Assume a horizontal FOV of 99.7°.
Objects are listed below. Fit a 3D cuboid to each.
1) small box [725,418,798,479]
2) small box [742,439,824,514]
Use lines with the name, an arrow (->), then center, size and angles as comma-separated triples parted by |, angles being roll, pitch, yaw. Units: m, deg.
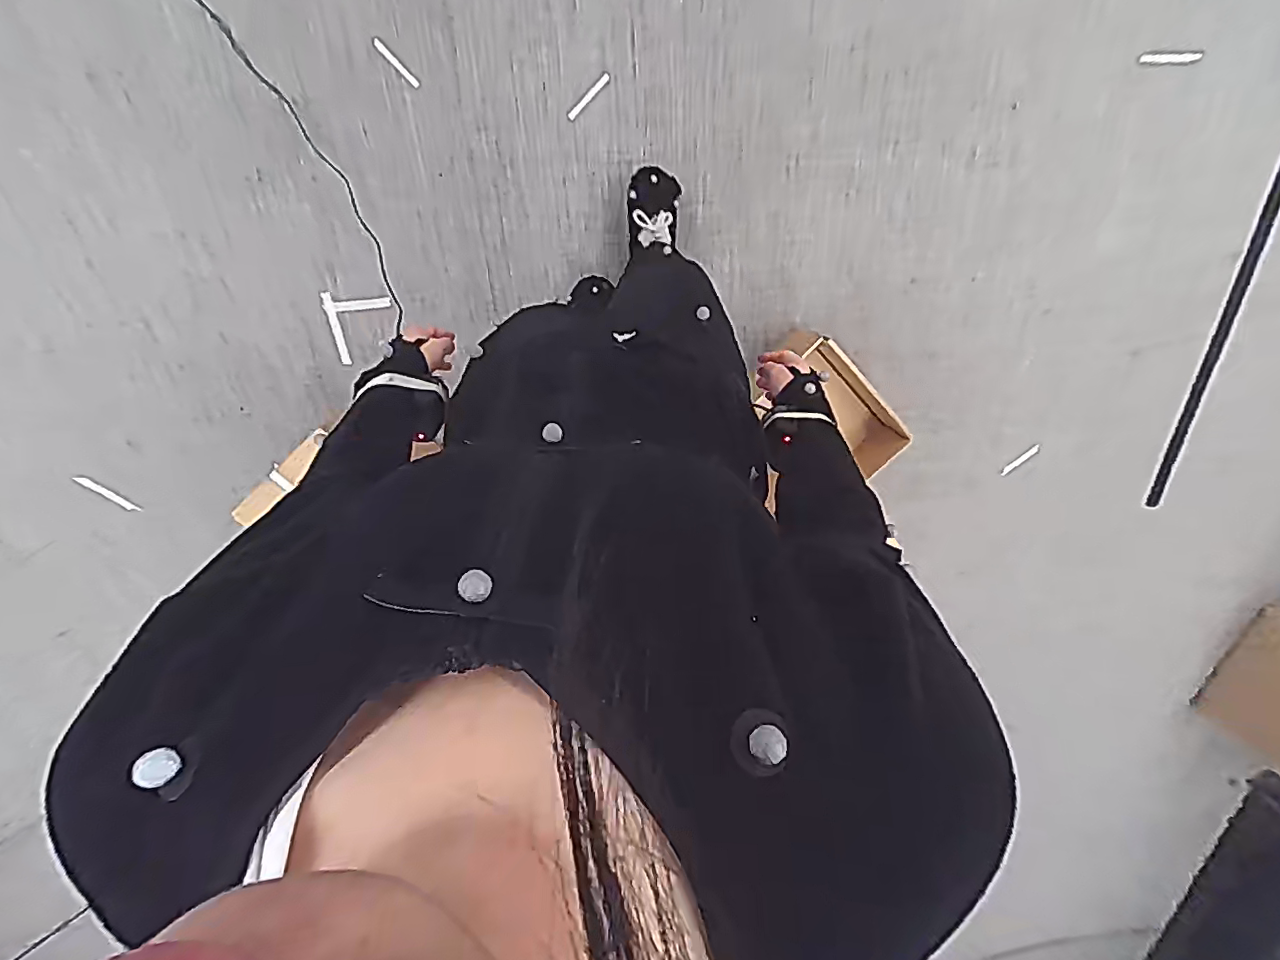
small box -> 0.359, -0.041, 1.459 | 0.168, 0.176, 0.179 | -42, 113, 12
small box -> 0.378, 0.028, 1.314 | 0.168, 0.176, 0.179 | -43, 112, 12
